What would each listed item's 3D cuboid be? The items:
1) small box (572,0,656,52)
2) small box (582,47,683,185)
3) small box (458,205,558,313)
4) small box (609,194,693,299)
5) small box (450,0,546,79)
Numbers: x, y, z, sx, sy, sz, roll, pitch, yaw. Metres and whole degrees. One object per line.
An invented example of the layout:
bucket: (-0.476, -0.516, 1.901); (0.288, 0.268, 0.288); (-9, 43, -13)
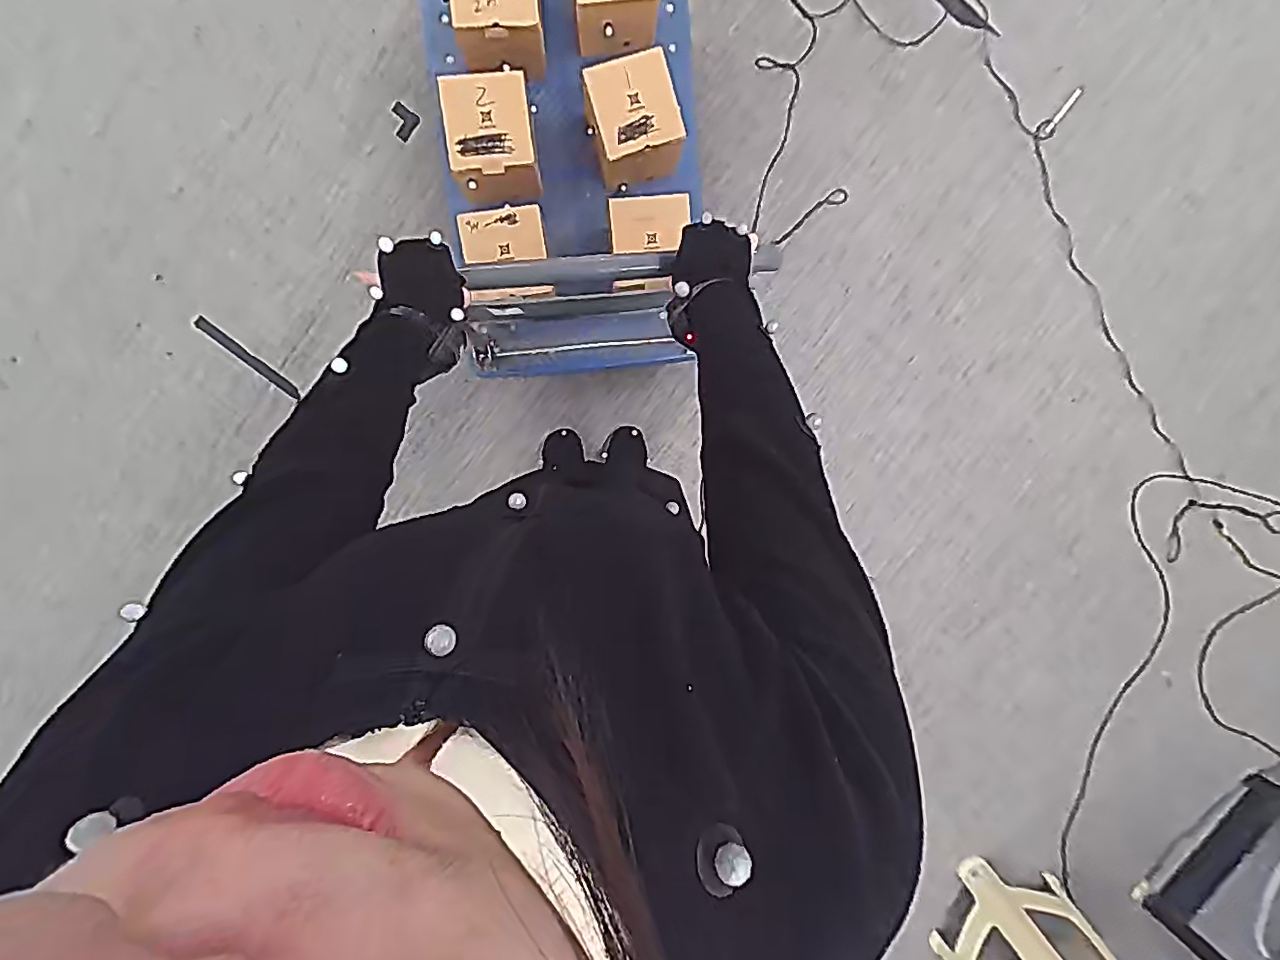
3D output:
small box: (-0.059, -1.020, 1.108); (0.168, 0.176, 0.179); (-9, 98, -3)
small box: (-0.017, -0.754, 1.146); (0.168, 0.176, 0.179); (-18, 98, -2)
small box: (-0.276, -0.465, 1.165); (0.168, 0.176, 0.179); (-9, 98, -4)
small box: (0.020, -0.501, 1.183); (0.168, 0.176, 0.179); (-5, 97, -4)
small box: (-0.286, -0.960, 1.098); (0.168, 0.176, 0.179); (-4, 99, -3)
